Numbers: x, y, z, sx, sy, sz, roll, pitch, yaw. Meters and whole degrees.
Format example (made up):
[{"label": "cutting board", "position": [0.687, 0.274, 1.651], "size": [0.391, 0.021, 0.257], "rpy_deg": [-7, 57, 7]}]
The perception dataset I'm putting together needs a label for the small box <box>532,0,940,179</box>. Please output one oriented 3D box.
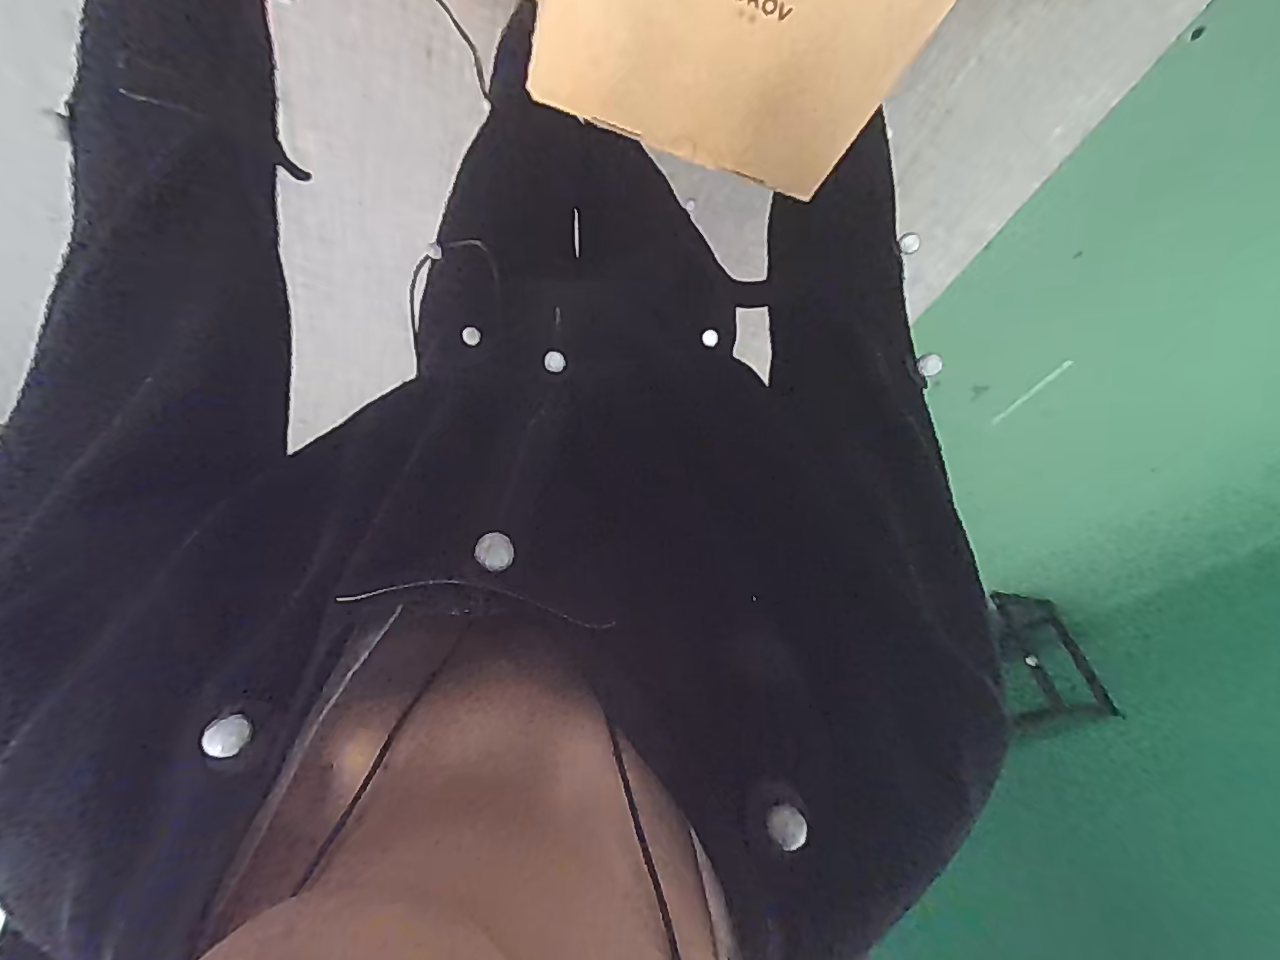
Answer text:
[{"label": "small box", "position": [0.051, -0.293, 0.249], "size": [0.168, 0.176, 0.179], "rpy_deg": [9, 153, -20]}]
